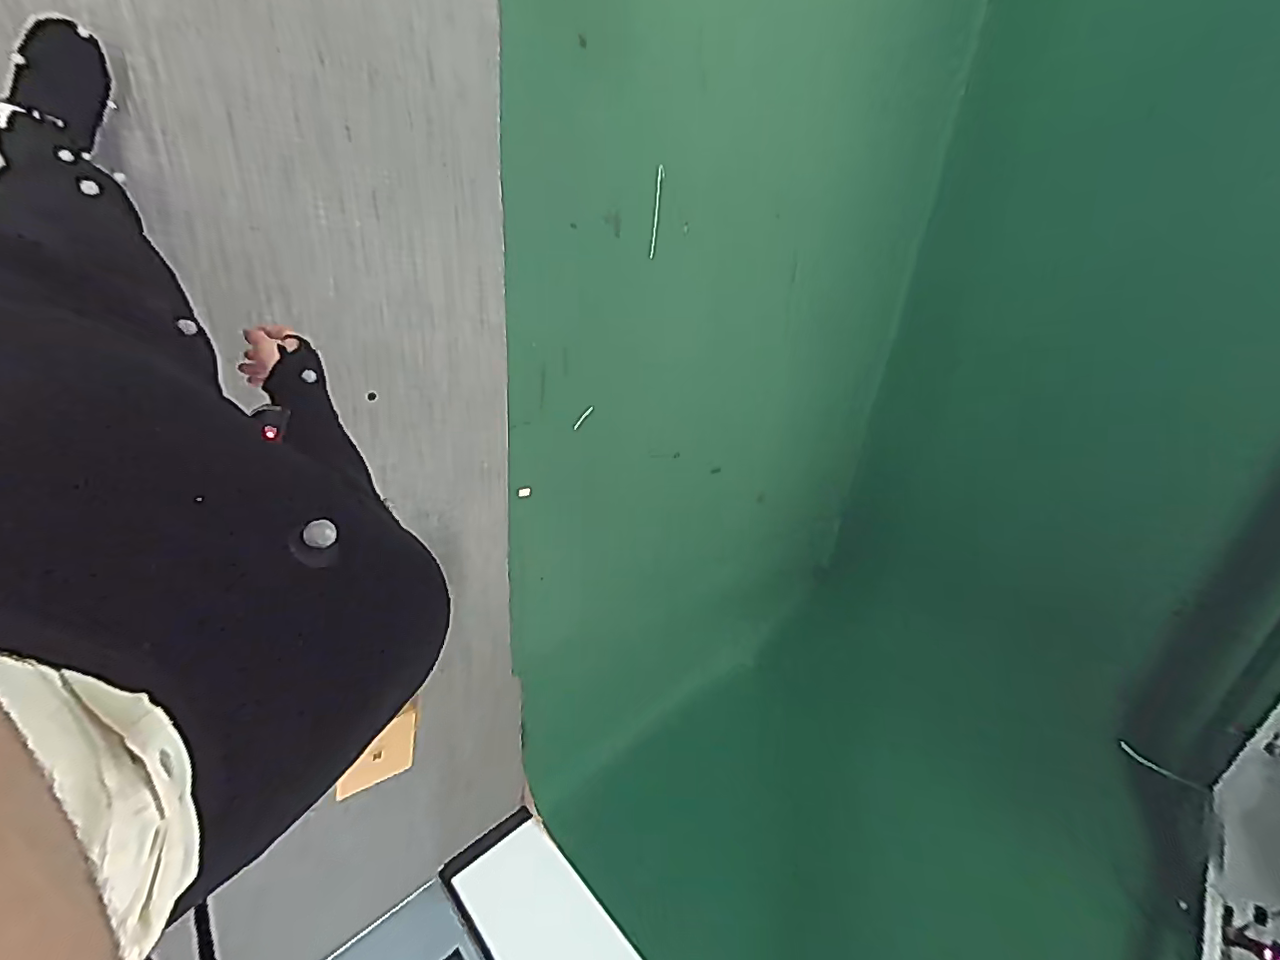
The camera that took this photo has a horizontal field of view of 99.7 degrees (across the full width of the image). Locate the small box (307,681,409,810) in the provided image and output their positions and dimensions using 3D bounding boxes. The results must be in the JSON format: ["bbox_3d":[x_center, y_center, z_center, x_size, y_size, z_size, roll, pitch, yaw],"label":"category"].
[{"bbox_3d":[-0.657,0.606,1.256,0.168,0.176,0.179,-7,116,-45],"label":"small box"}]

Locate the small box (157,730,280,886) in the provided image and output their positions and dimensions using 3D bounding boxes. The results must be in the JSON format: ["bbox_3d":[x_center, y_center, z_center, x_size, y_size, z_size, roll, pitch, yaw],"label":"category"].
[{"bbox_3d":[-0.834,0.631,1.071,0.168,0.176,0.179,-9,118,-44],"label":"small box"}]
